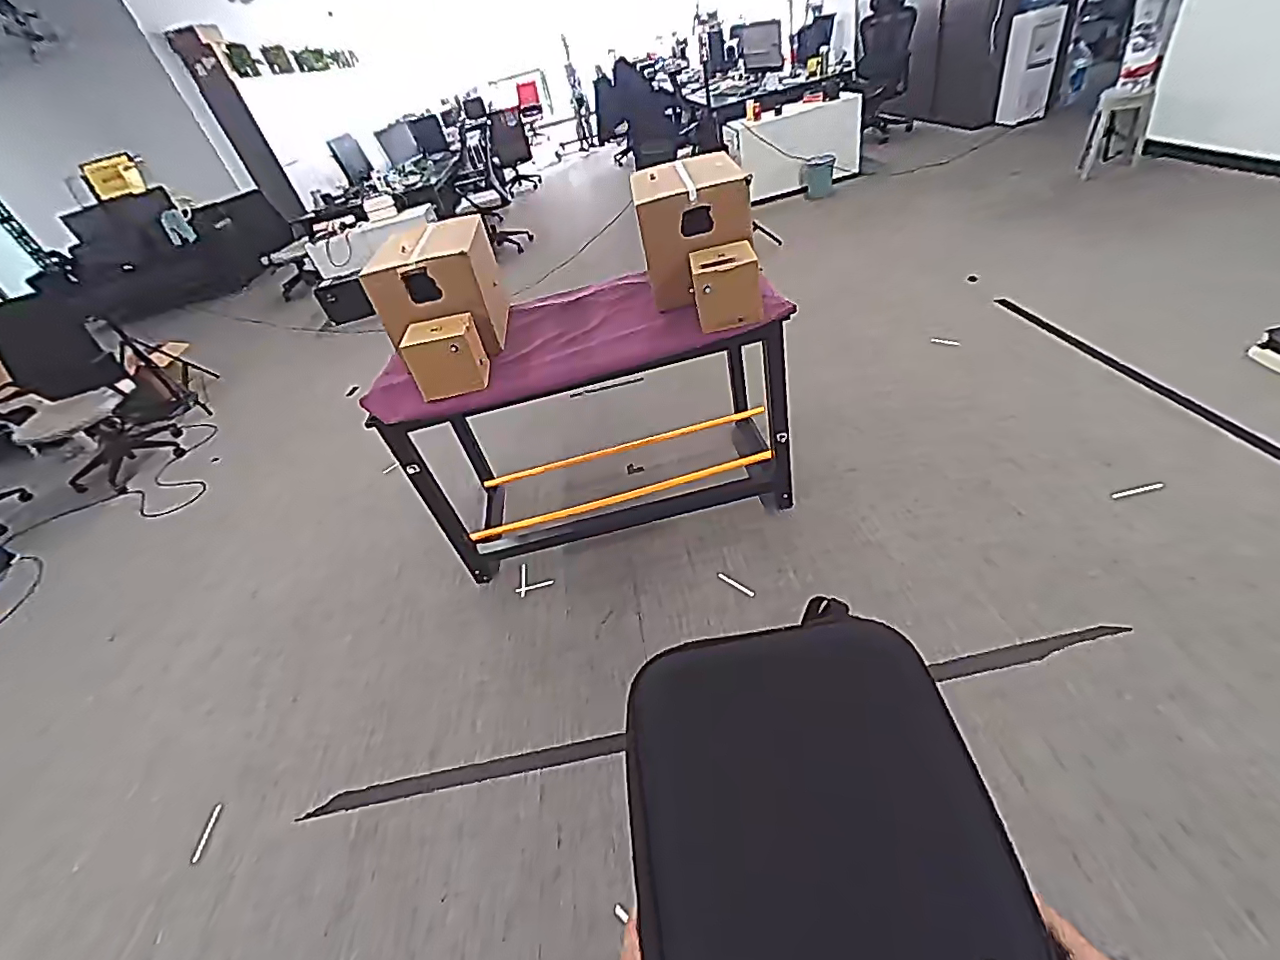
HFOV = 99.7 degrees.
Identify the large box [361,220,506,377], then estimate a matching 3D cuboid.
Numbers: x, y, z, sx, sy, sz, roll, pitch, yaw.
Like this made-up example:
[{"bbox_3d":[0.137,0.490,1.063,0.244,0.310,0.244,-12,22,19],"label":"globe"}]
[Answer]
[{"bbox_3d":[-0.629,-0.587,1.730,0.320,0.320,0.408,-14,42,1],"label":"large box"}]
